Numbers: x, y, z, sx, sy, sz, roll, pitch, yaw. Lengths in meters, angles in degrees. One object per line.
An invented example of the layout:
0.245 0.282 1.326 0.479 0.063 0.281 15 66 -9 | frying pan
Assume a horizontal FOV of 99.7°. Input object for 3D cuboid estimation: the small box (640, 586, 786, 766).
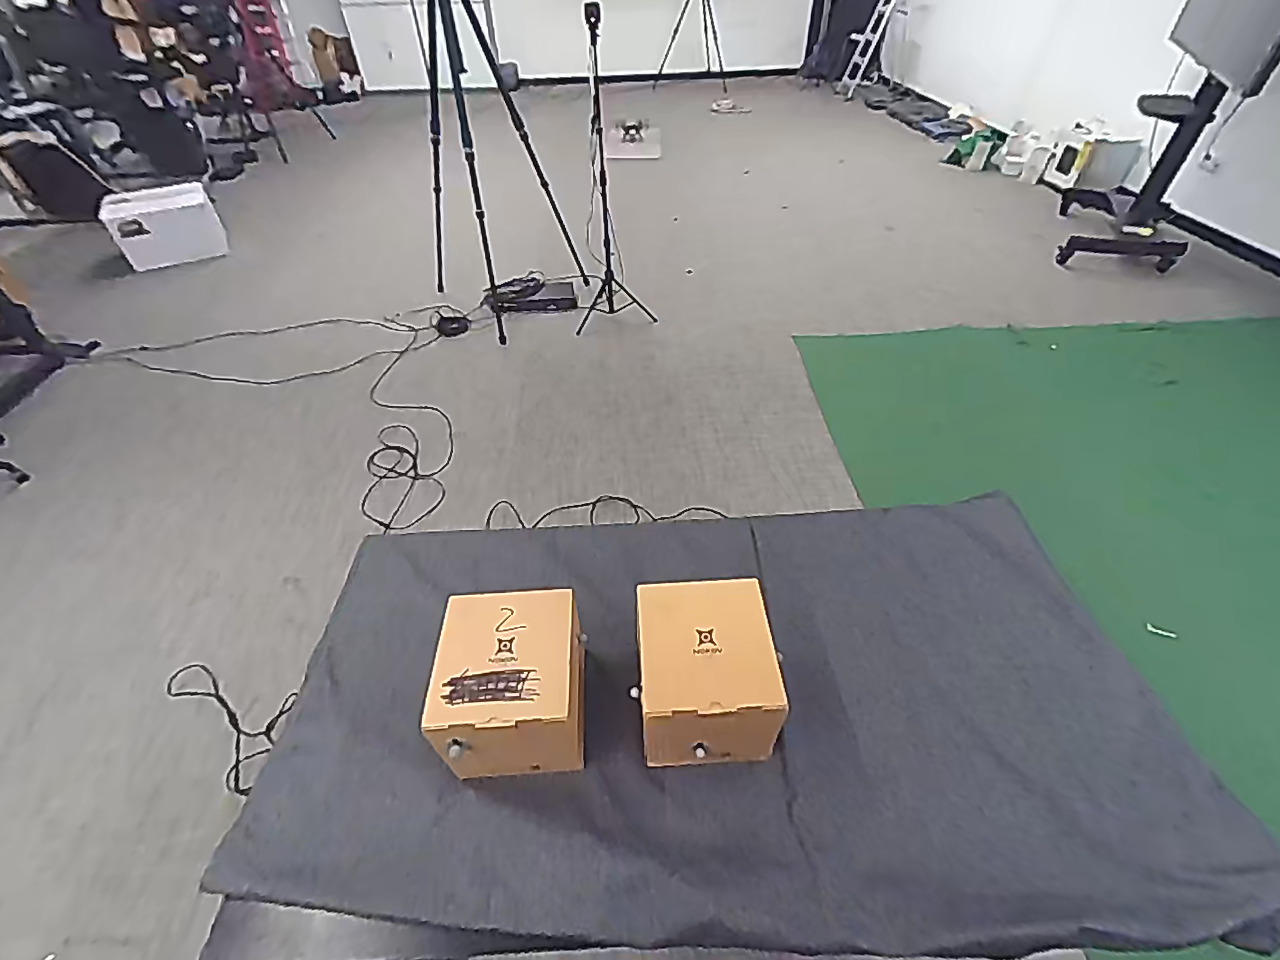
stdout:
0.084 0.266 0.735 0.168 0.176 0.179 -3 45 -1 | small box
